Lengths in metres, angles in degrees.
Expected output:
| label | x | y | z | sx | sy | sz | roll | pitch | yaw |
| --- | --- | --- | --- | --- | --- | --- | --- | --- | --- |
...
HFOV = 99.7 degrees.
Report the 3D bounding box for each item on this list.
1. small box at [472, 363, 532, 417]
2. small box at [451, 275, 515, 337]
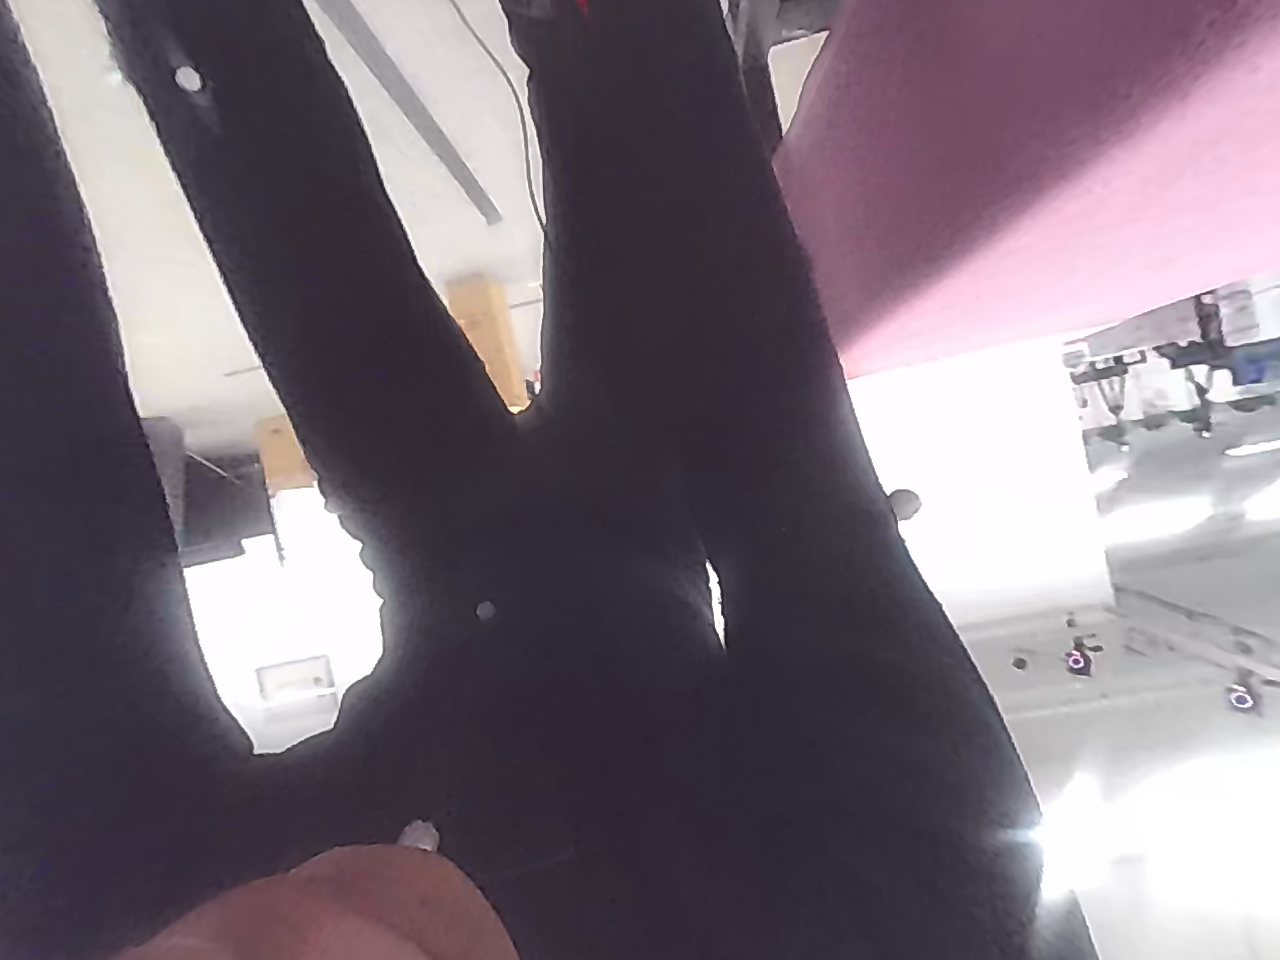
| label | x | y | z | sx | sy | sz | roll | pitch | yaw |
| --- | --- | --- | --- | --- | --- | --- | --- | --- | --- |
| small box | -0.527 | -0.344 | 2.077 | 0.168 | 0.176 | 0.179 | -10 | -179 | 5 |
| small box | -0.597 | -0.664 | 2.067 | 0.168 | 0.176 | 0.179 | -11 | 180 | 9 |
